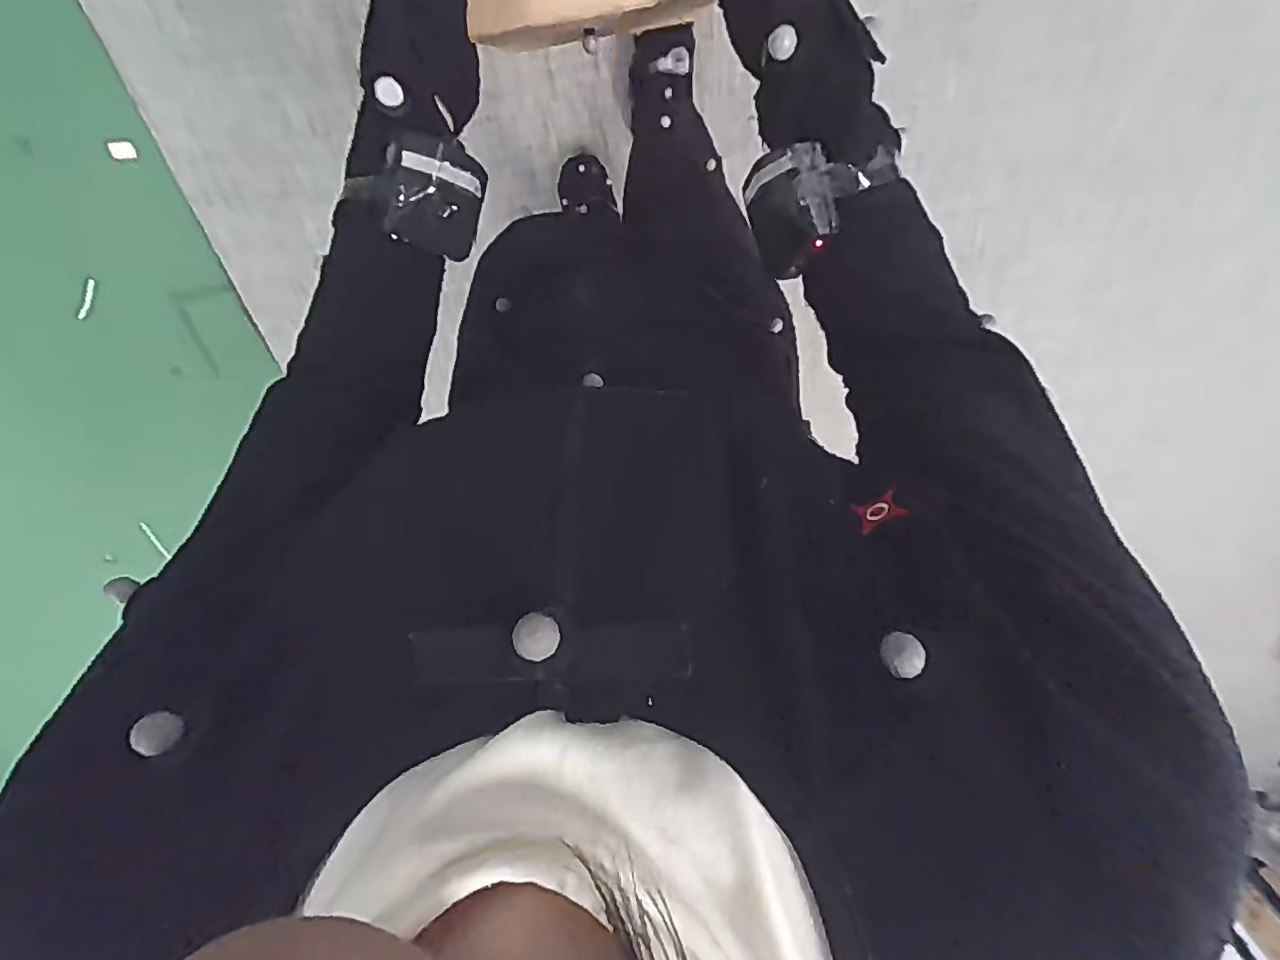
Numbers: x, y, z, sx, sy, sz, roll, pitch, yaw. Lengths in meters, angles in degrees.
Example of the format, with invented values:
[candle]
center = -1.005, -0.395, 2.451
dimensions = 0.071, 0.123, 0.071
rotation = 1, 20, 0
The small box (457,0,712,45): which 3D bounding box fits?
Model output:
[small box]
center = -0.043, -0.424, 0.377
dimensions = 0.179, 0.176, 0.168
rotation = -5, 124, 3
